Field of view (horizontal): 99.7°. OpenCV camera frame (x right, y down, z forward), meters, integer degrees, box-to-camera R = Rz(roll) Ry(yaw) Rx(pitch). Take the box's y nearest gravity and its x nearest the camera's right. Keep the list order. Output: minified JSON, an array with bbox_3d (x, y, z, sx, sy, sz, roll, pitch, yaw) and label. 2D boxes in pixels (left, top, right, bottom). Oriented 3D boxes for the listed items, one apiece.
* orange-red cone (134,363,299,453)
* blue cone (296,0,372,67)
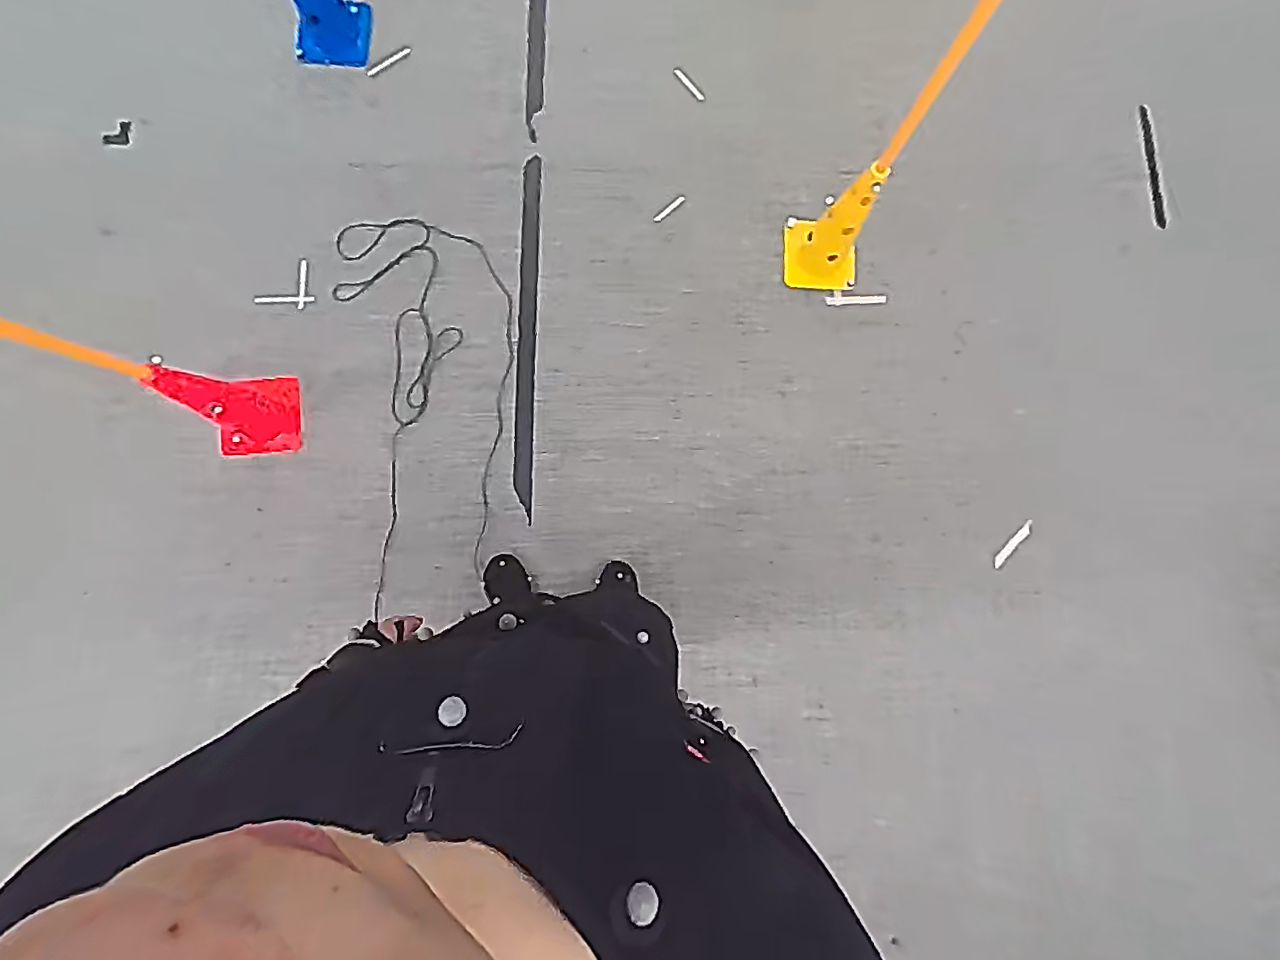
[{"bbox_3d":[-0.964,-0.190,1.213,0.199,0.360,0.198,-5,84,-5],"label":"orange-red cone"},{"bbox_3d":[-0.851,-1.284,1.370,0.193,0.380,0.192,3,83,-2],"label":"blue cone"}]
